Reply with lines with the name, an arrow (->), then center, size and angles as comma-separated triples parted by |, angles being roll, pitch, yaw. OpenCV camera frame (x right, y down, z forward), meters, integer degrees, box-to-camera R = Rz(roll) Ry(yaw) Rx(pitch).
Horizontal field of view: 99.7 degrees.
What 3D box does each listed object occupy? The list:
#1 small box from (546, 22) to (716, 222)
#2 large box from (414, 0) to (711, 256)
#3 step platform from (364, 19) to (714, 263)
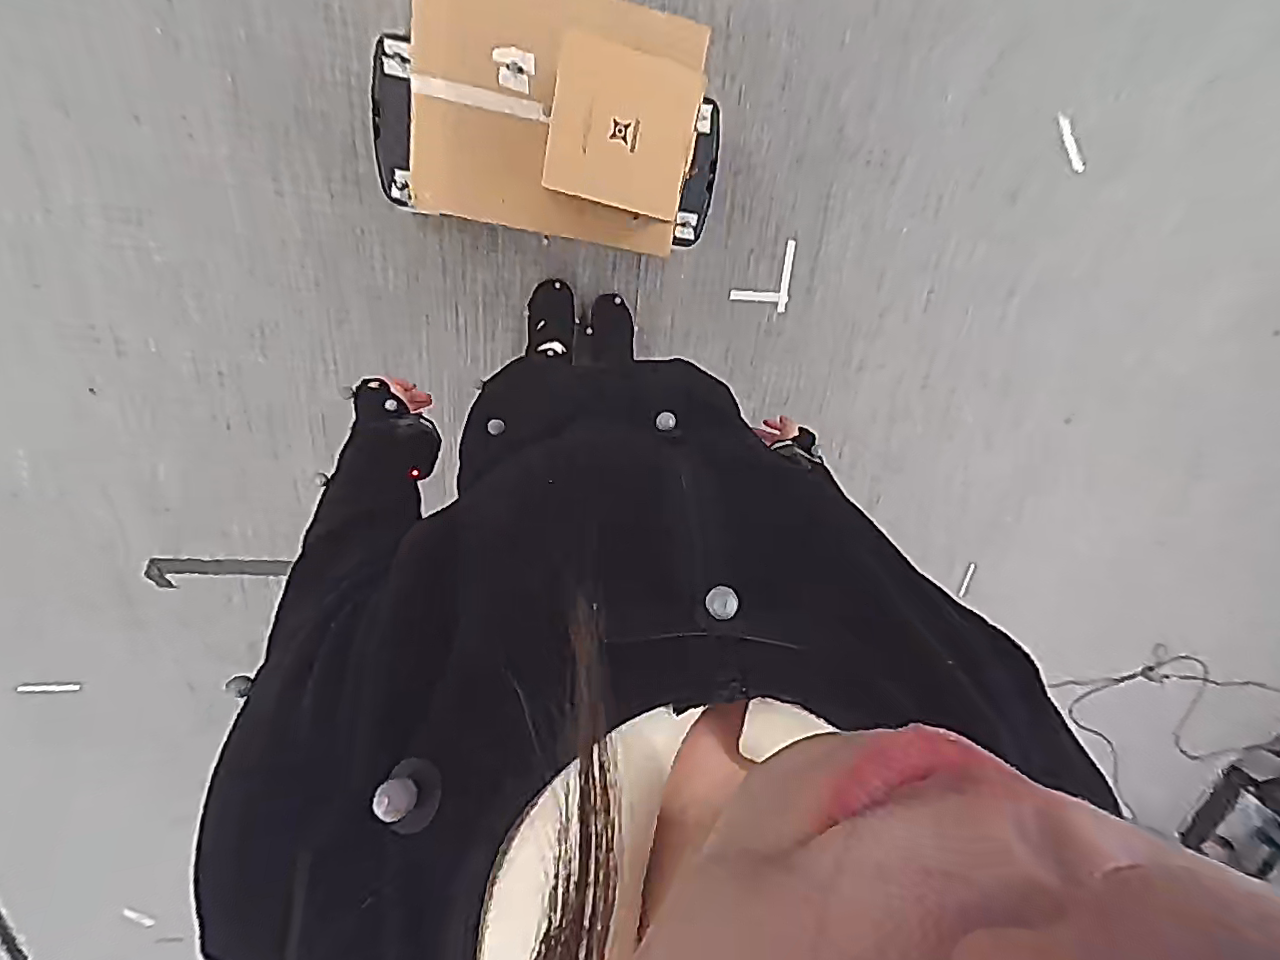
small box -> -0.024, -0.453, 0.716 | 0.179, 0.176, 0.168 | 10, 112, -12
large box -> -0.133, -0.579, 0.914 | 0.408, 0.320, 0.320 | 7, 111, -11
step platform -> -0.194, -0.672, 1.126 | 0.684, 0.204, 0.286 | 9, 112, -12
